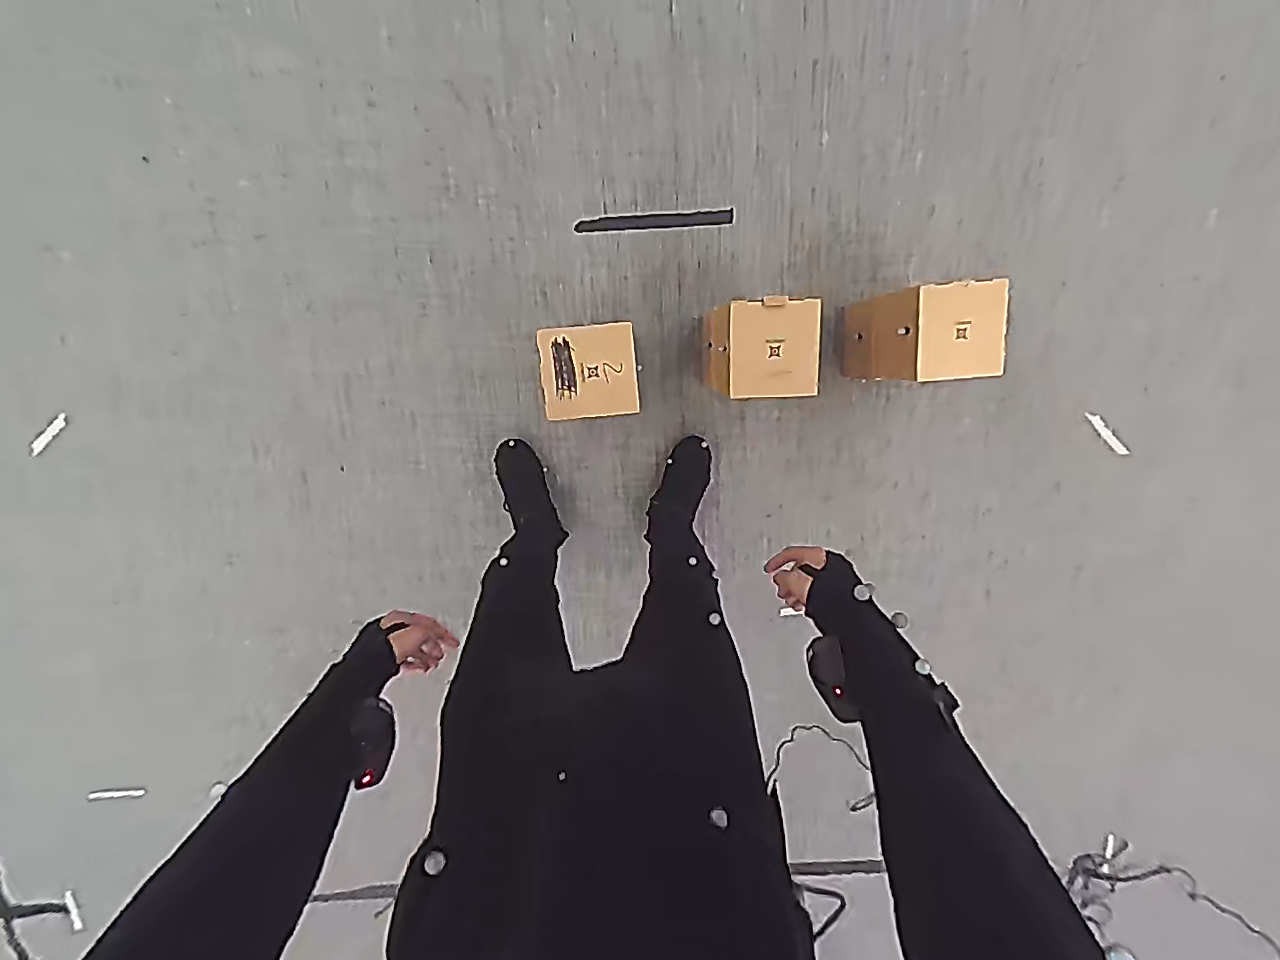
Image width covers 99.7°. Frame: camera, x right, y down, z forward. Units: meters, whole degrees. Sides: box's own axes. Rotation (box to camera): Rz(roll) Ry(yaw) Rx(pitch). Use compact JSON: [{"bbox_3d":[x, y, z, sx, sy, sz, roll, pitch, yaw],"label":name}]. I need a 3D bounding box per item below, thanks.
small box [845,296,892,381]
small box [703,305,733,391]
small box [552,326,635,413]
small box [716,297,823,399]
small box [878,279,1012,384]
[{"bbox_3d":[0.574,-0.319,1.214,0.168,0.176,0.179,-6,102,-1],"label":"small box"},{"bbox_3d":[0.235,-0.292,1.206,0.168,0.176,0.179,-2,103,-2],"label":"small box"},{"bbox_3d":[-0.100,-0.244,1.207,0.168,0.176,0.179,-4,102,-1],"label":"small box"},{"bbox_3d":[0.242,-0.250,1.048,0.168,0.176,0.179,-2,102,-1],"label":"small box"},{"bbox_3d":[0.583,-0.285,1.056,0.168,0.176,0.179,-5,102,-1],"label":"small box"}]
